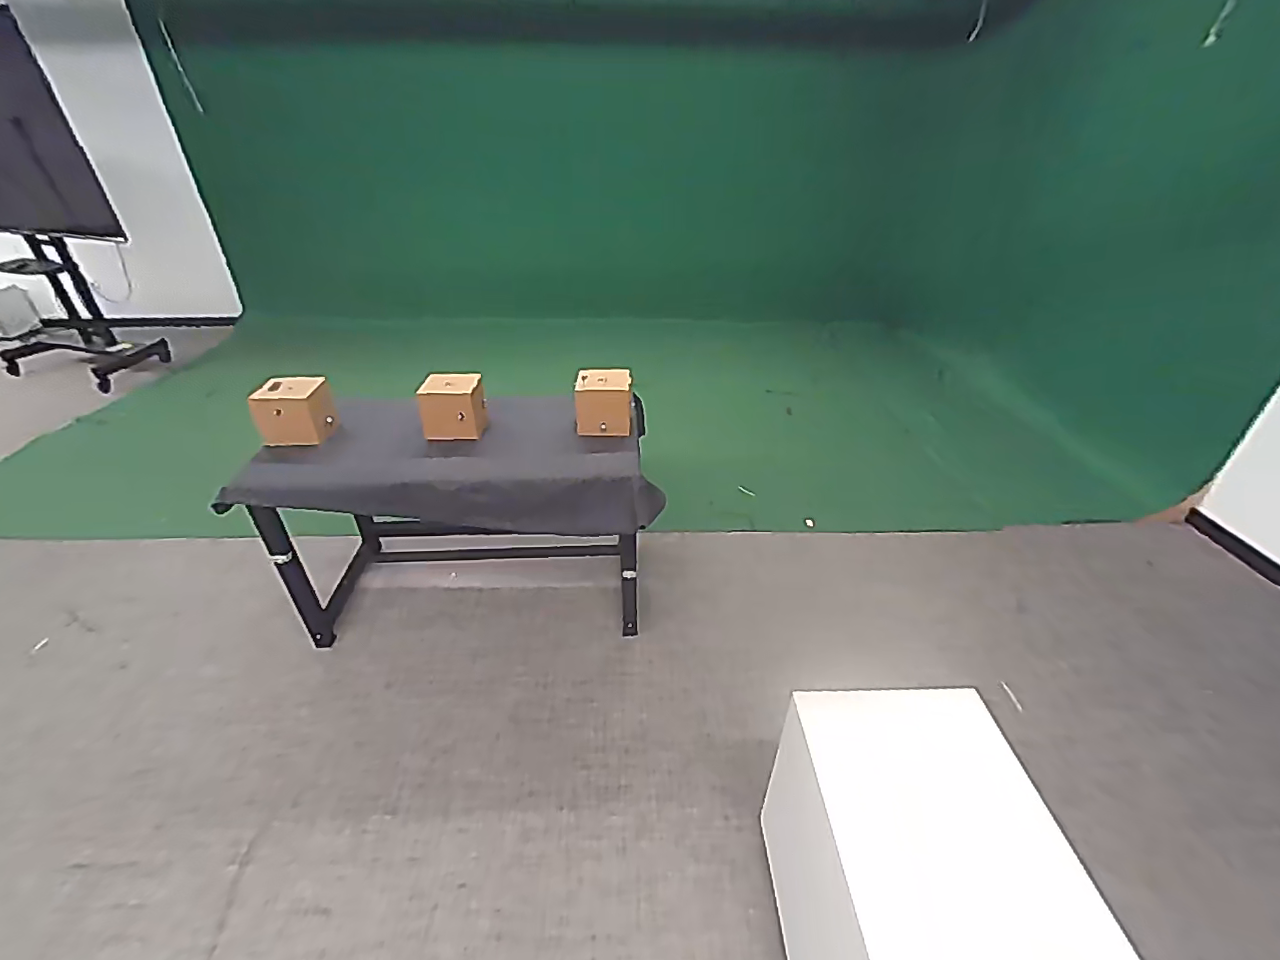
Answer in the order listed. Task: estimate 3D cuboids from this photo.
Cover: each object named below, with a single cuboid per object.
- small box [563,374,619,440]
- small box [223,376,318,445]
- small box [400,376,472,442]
[{"bbox_3d":[-0.163,-0.244,1.821,0.179,0.176,0.168,1,33,-2],"label":"small box"},{"bbox_3d":[-1.160,-0.219,1.713,0.179,0.176,0.168,-1,33,-7],"label":"small box"},{"bbox_3d":[-0.660,-0.233,1.775,0.179,0.176,0.168,-1,31,-4],"label":"small box"}]
